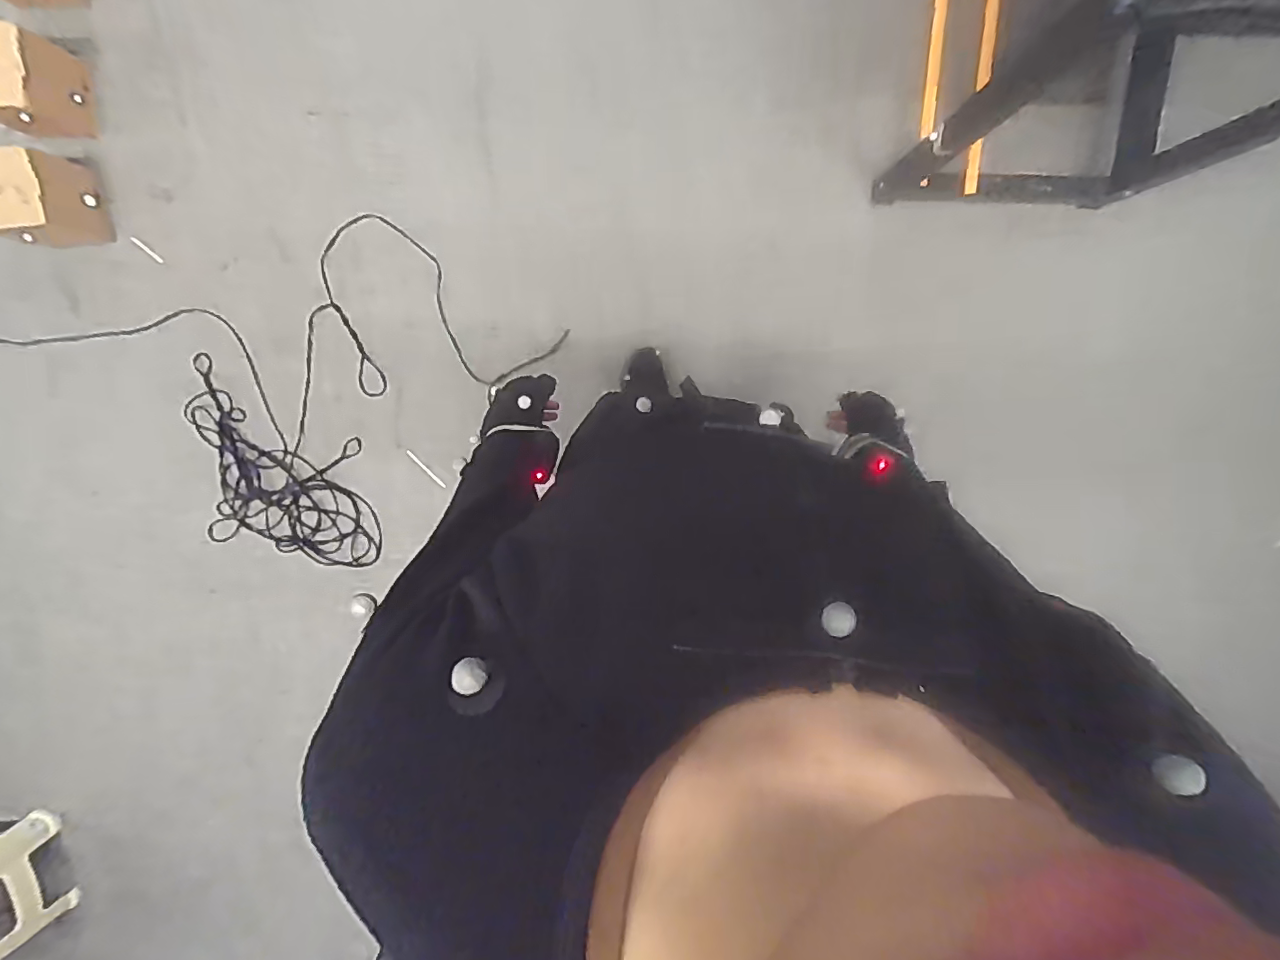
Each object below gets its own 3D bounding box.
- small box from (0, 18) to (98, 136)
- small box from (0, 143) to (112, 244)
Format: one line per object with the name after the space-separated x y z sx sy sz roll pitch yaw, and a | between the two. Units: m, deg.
-1.419 -0.918 1.241 0.179 0.176 0.168 2 100 -1 | small box
-1.432 -0.670 1.283 0.179 0.176 0.168 -6 101 1 | small box
